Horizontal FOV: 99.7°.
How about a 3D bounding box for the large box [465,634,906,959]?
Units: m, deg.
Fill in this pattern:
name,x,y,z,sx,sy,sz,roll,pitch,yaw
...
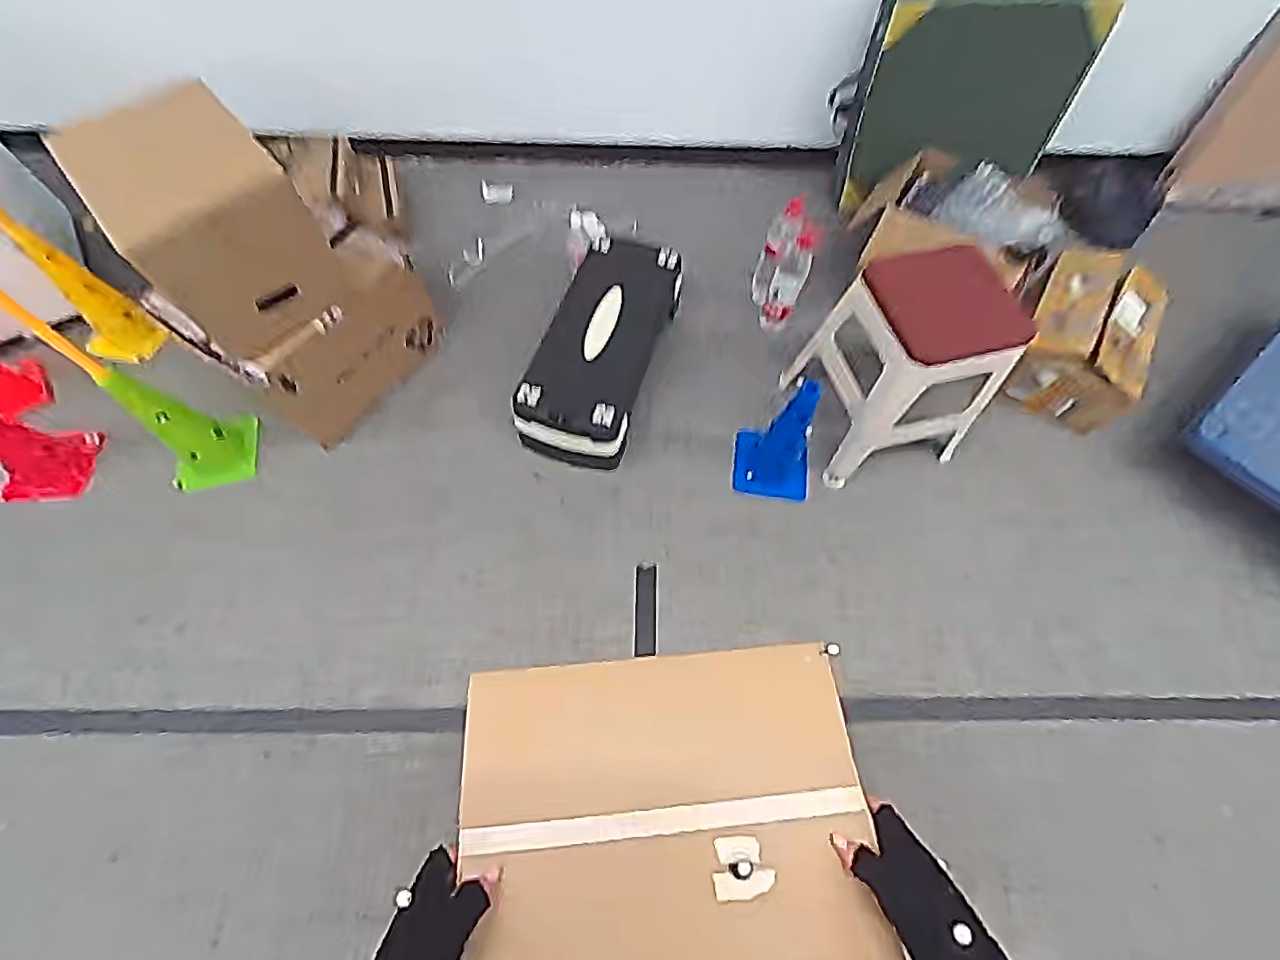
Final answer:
name,x,y,z,sx,sy,sz,roll,pitch,yaw
large box,0.024,0.403,0.671,0.408,0.320,0.320,-4,62,-4
